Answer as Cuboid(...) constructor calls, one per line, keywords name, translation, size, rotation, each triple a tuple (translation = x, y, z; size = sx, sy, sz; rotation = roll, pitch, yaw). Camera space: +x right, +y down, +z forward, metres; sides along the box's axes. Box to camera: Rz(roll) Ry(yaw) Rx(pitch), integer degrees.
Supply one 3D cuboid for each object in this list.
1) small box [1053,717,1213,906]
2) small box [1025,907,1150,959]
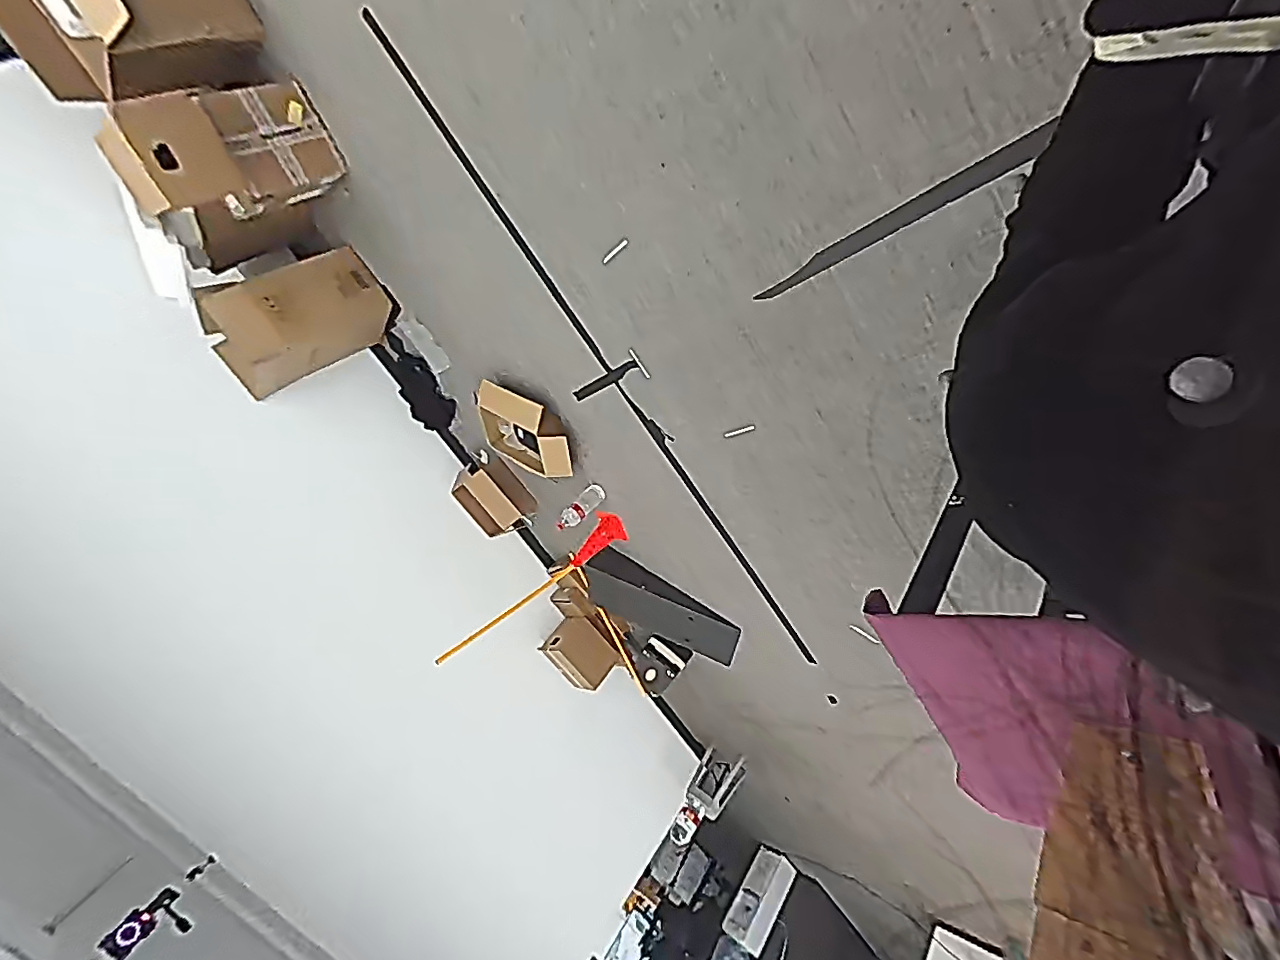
Cuboid(name="small box", translation=(0.813, 0.530, 0.888), size=(0.168, 0.176, 0.179), rotation=(-7, 121, 50))
Cuboid(name="small box", translation=(0.616, 0.719, 0.708), size=(0.168, 0.176, 0.179), rotation=(-4, 125, 51))
